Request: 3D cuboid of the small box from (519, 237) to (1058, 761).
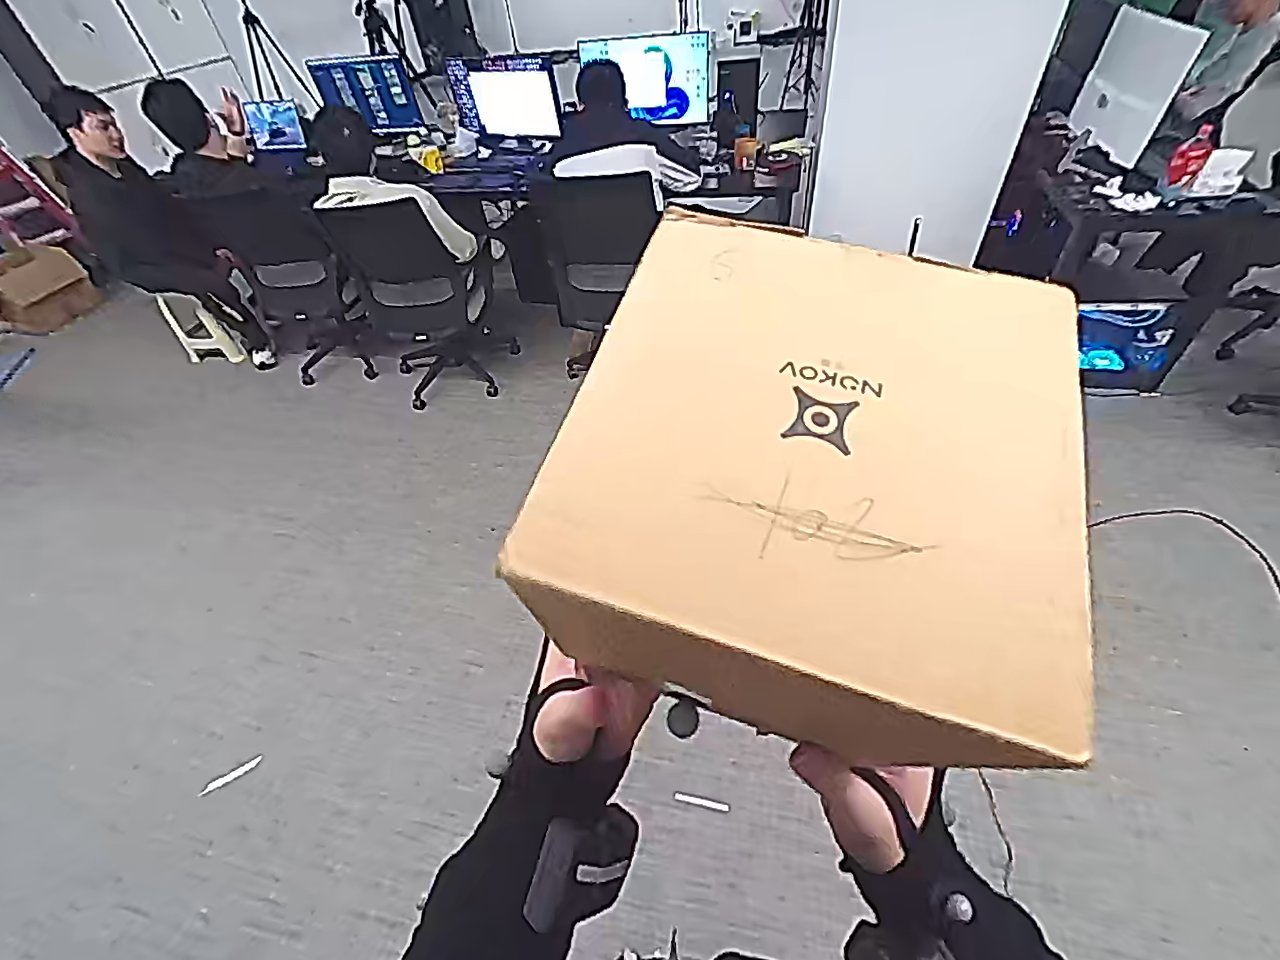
[{"bbox_3d":[0.063,0.020,0.268,0.168,0.176,0.179,14,64,9],"label":"small box"}]
